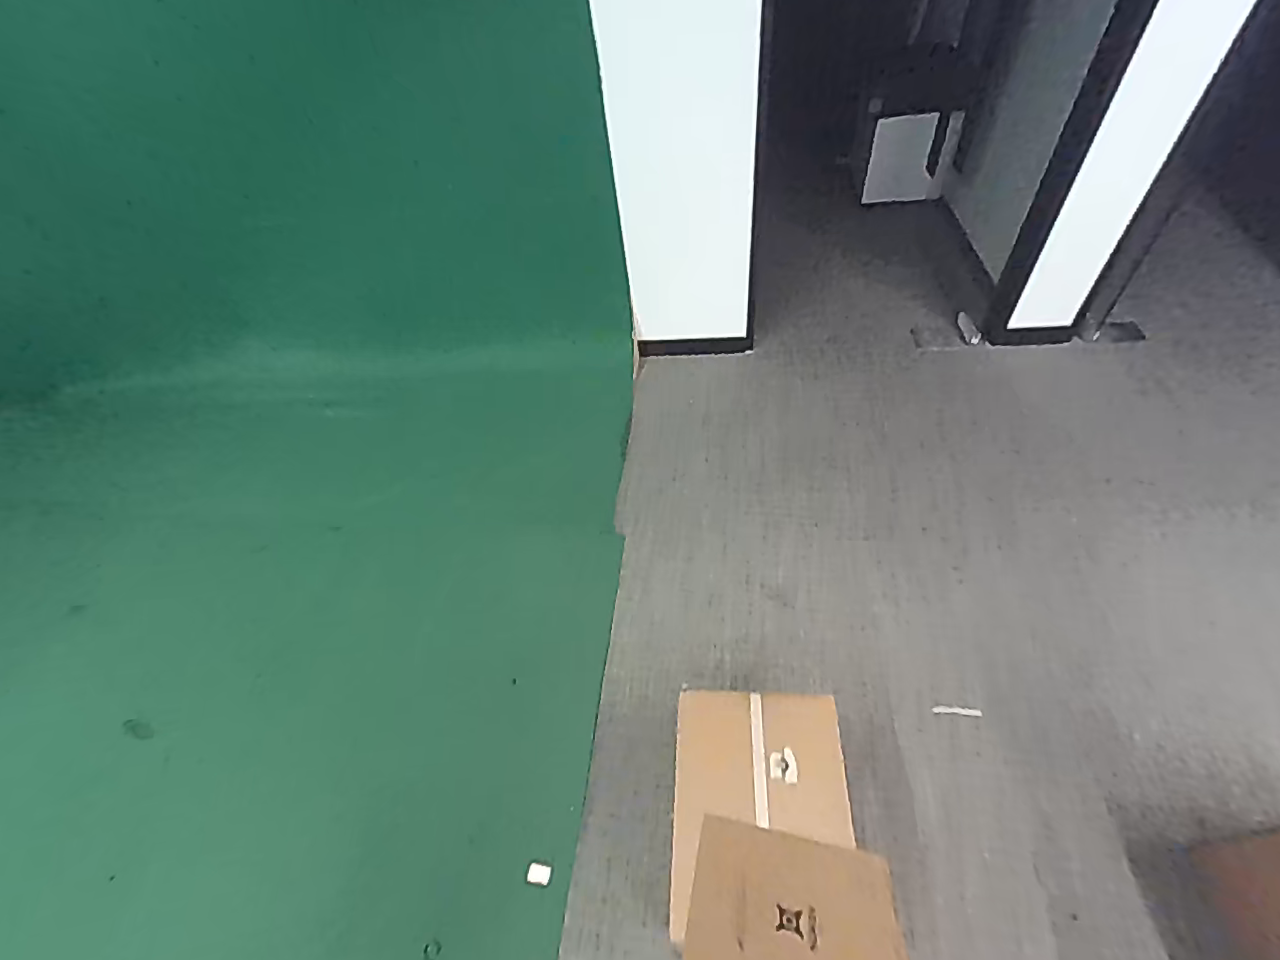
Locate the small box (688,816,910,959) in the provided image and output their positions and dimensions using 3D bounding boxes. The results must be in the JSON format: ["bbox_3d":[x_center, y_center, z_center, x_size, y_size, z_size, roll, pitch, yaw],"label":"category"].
[{"bbox_3d":[0.131,0.453,0.483,0.179,0.176,0.168,7,17,13],"label":"small box"}]

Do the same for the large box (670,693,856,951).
[{"bbox_3d":[0.235,0.686,1.078,0.320,0.320,0.408,-1,49,8],"label":"large box"}]
